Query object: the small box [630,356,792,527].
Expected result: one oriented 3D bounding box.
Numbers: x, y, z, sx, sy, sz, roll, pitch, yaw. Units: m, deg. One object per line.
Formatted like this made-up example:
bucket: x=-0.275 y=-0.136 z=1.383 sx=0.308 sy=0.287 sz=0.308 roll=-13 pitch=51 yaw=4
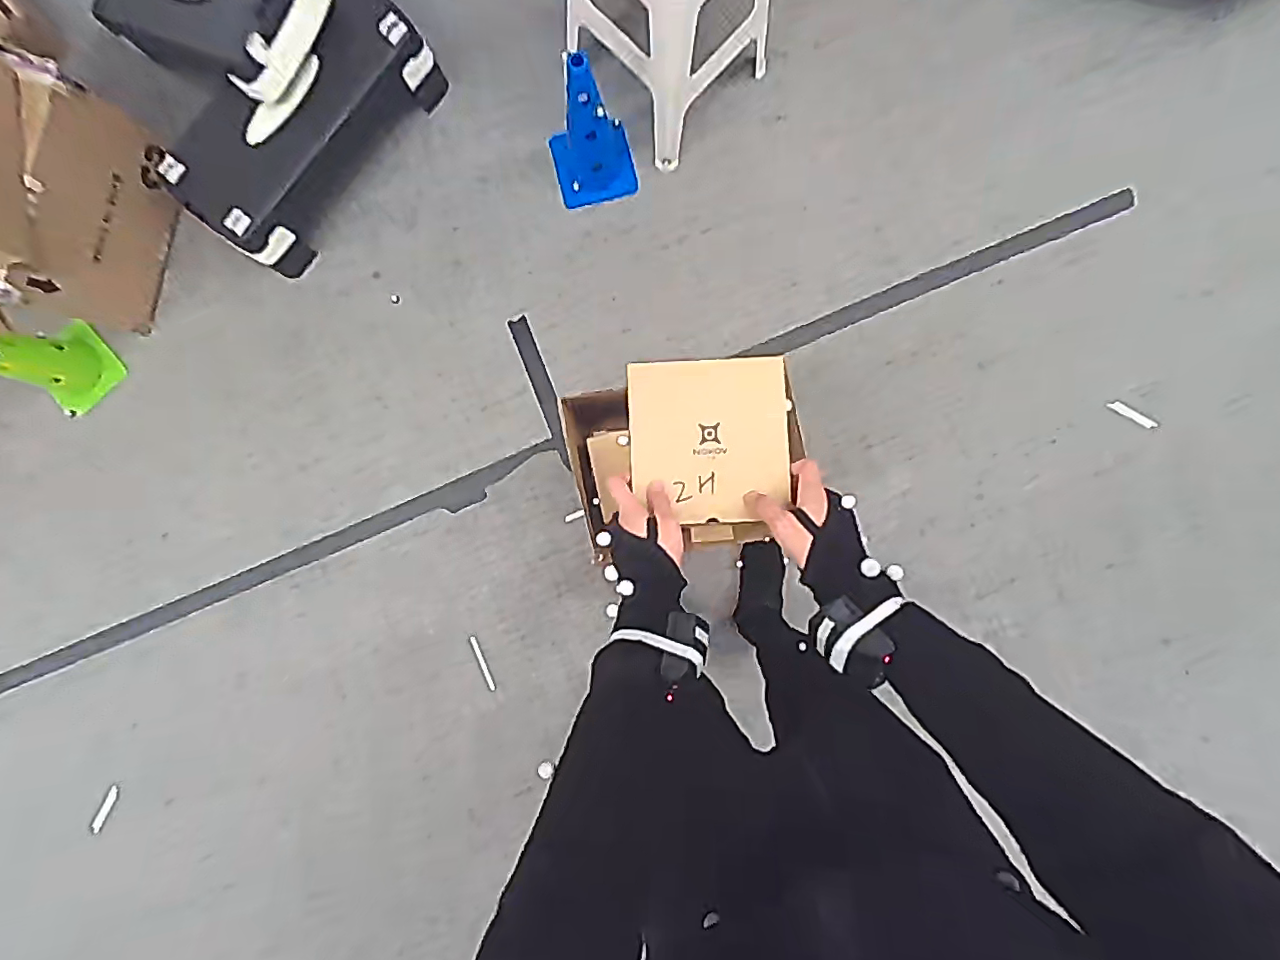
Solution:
small box: x=0.072 y=-0.036 z=0.631 sx=0.168 sy=0.176 sz=0.179 roll=-2 pitch=88 yaw=1
